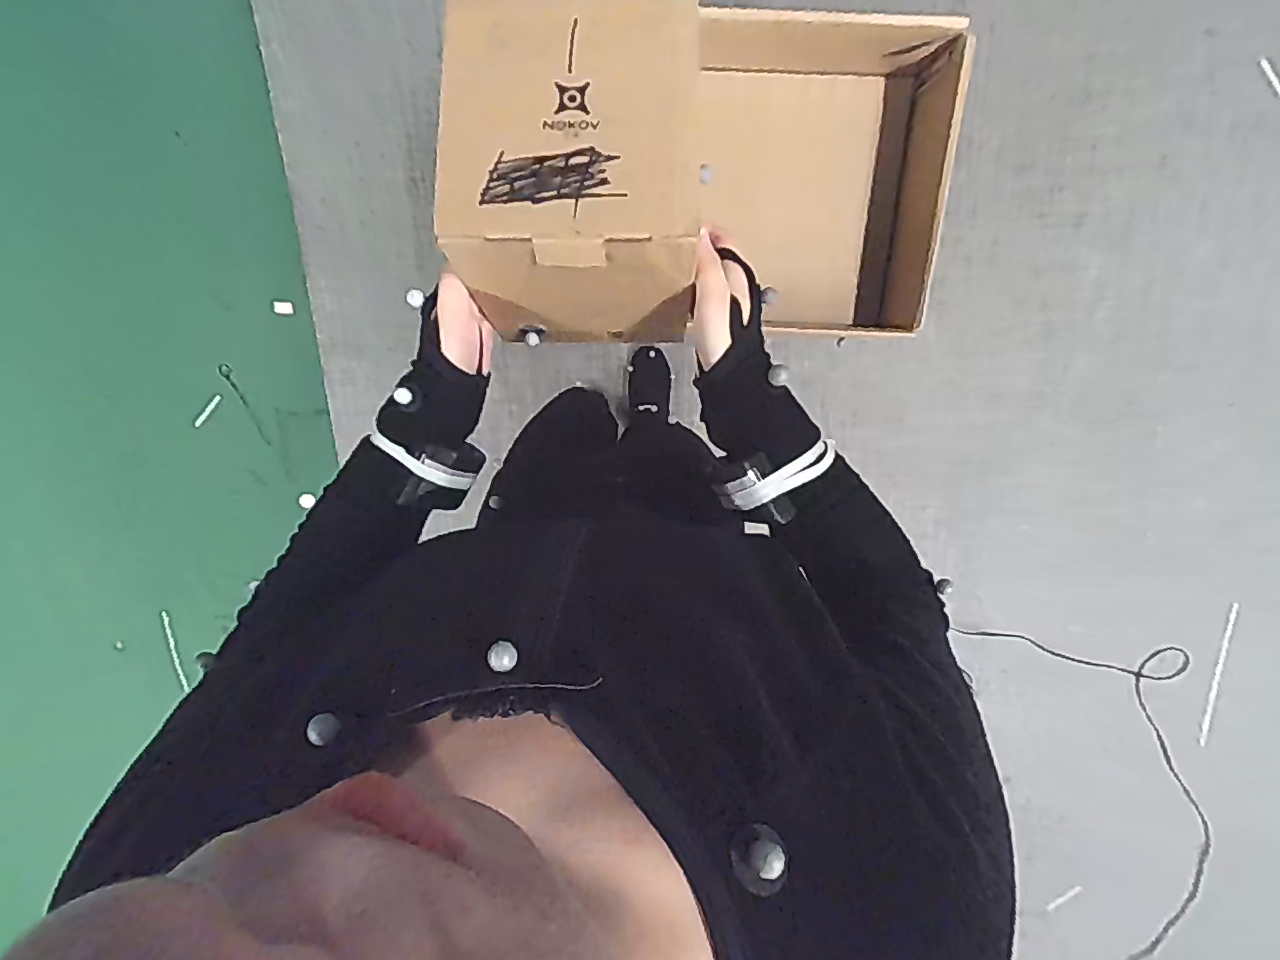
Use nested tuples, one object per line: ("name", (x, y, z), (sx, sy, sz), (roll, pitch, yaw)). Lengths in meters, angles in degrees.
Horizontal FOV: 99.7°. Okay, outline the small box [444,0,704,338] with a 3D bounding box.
("small box", (-0.040, -0.223, 0.425), (0.168, 0.176, 0.179), (0, 81, -1))
